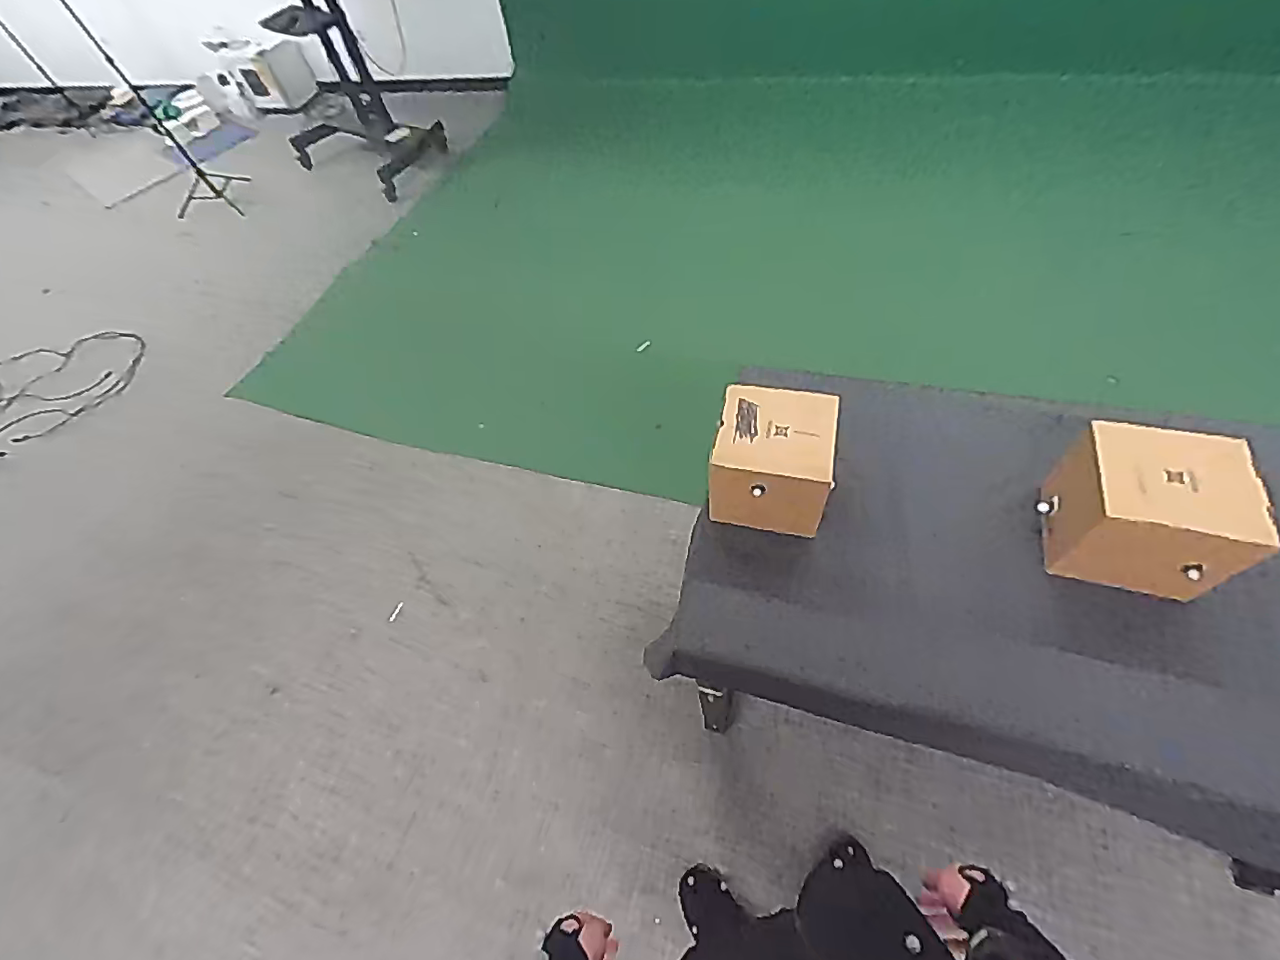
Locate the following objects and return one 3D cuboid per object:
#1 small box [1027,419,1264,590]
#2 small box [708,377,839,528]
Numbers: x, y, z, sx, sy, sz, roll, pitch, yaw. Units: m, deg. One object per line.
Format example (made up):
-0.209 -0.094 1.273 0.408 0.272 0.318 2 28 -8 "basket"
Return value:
0.696 0.040 0.774 0.179 0.176 0.168 11 56 14 "small box"
0.210 -0.041 0.874 0.179 0.176 0.168 10 57 11 "small box"
